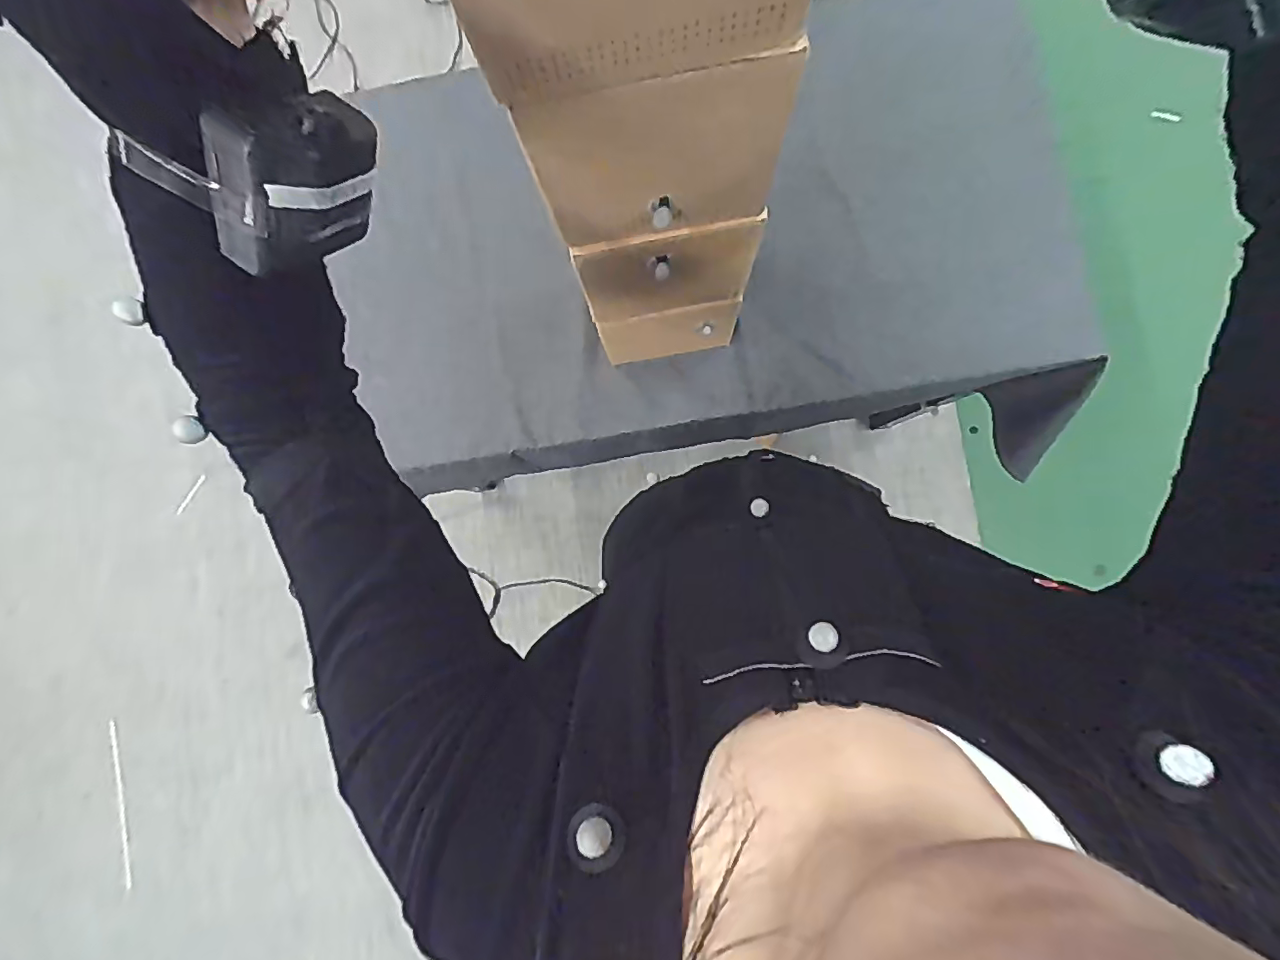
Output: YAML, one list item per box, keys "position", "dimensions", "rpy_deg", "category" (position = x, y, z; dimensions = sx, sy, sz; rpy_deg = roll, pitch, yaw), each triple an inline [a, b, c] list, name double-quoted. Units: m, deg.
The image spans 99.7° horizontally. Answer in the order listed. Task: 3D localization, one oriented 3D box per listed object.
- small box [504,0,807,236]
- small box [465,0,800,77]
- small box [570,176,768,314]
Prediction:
- position: [0.003, -0.304, 0.391]
  dimensions: [0.179, 0.176, 0.168]
  rpy_deg: [-7, 85, 3]
  category: "small box"
- position: [-0.014, -0.317, 0.229]
  dimensions: [0.179, 0.176, 0.168]
  rpy_deg: [-9, 86, 3]
  category: "small box"
- position: [0.018, -0.289, 0.555]
  dimensions: [0.179, 0.176, 0.168]
  rpy_deg: [-10, 86, 3]
  category: "small box"
